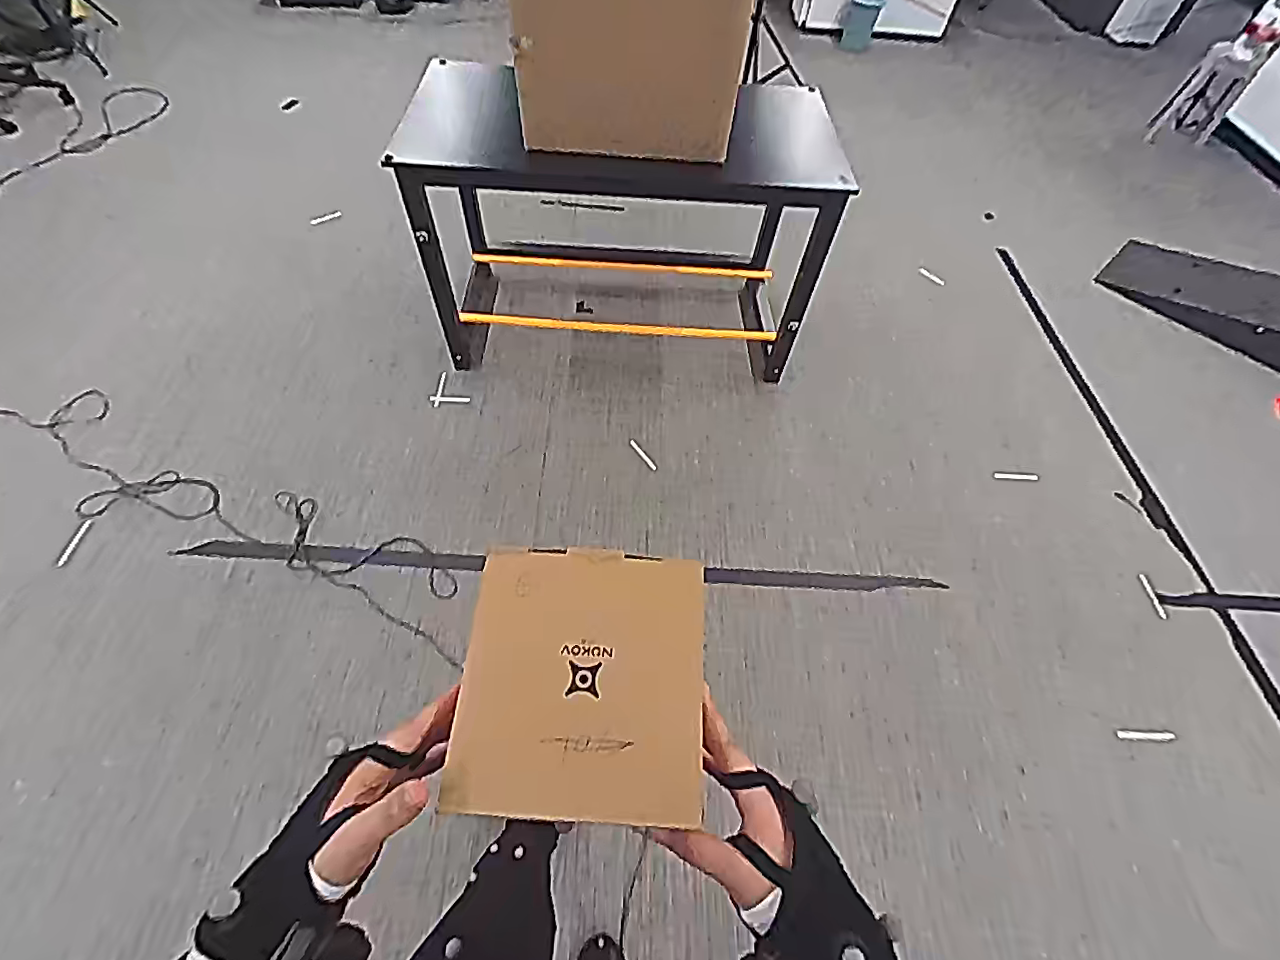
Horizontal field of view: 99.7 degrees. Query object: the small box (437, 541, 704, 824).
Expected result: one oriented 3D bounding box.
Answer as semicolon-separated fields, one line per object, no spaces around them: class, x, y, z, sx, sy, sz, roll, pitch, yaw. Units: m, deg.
small box;-0.042;0.166;0.441;0.168;0.176;0.179;4;62;0
